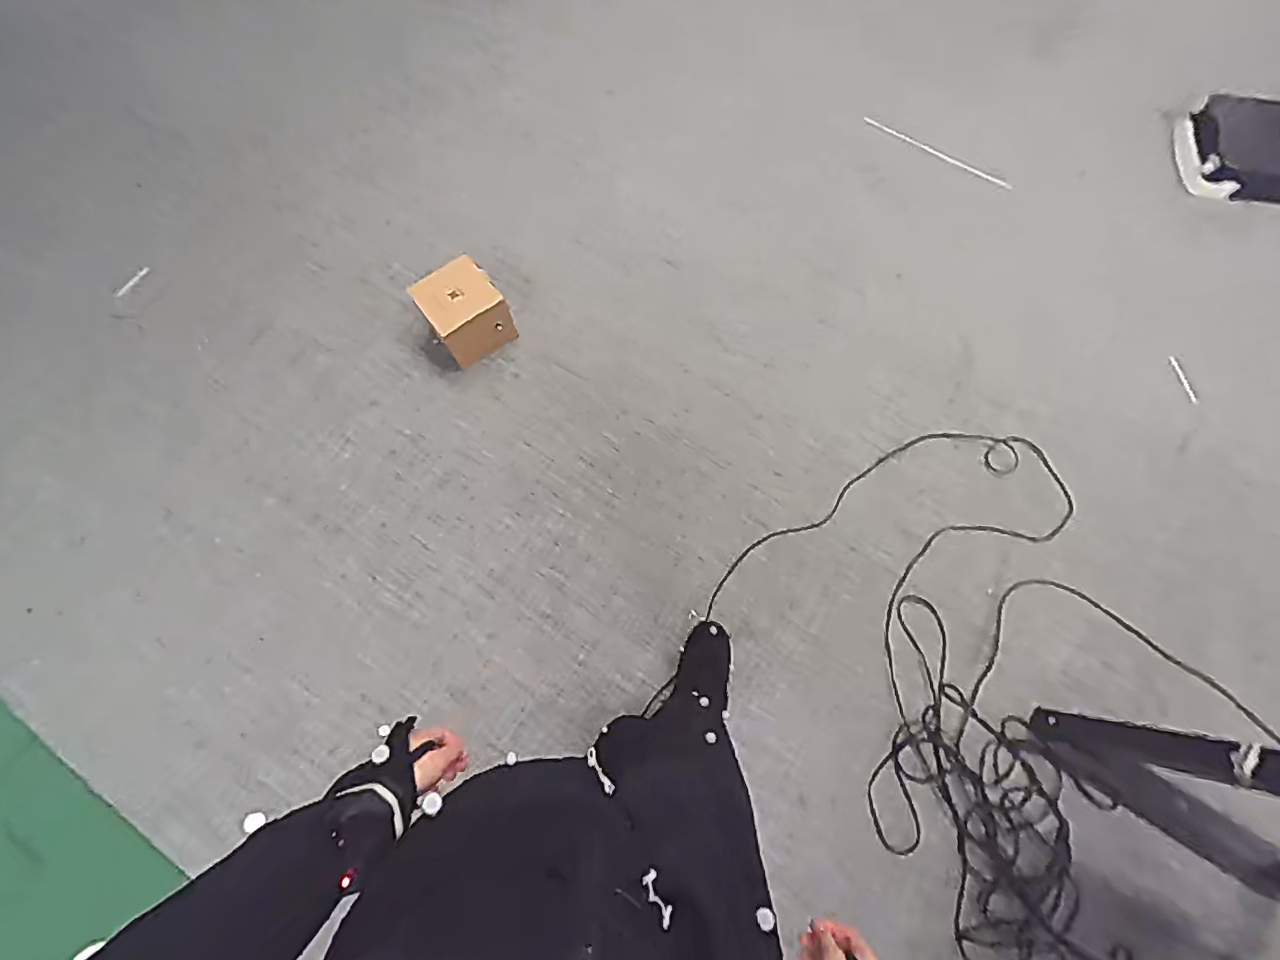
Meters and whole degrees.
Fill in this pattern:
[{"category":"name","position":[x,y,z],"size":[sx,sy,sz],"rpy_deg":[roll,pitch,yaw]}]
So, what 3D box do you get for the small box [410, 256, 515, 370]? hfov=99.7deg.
[{"category":"small box","position":[-0.432,-0.412,1.355],"size":[0.179,0.176,0.168],"rpy_deg":[-38,77,-10]}]
